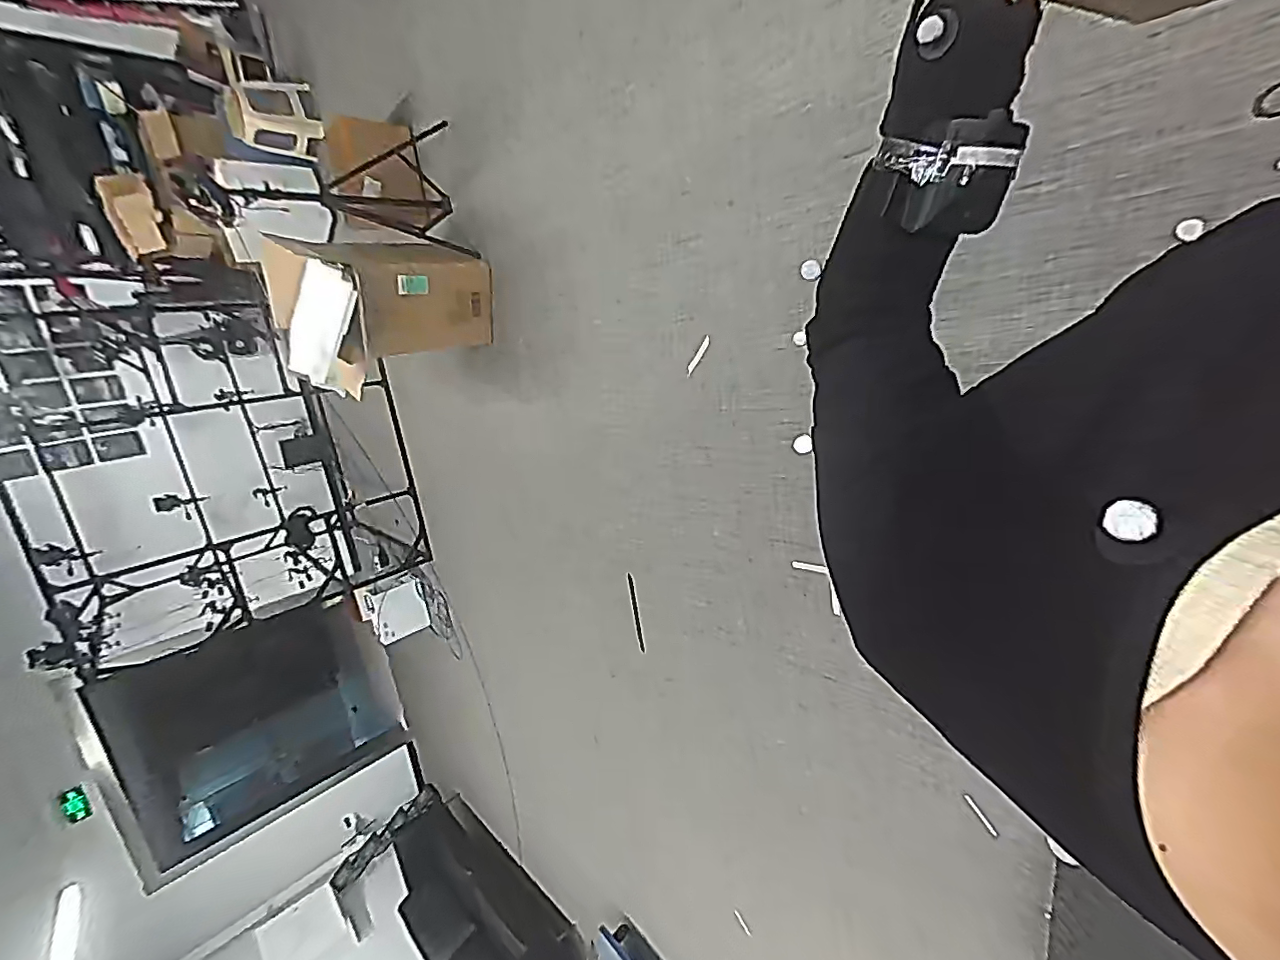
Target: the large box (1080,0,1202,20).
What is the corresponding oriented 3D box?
[{"bbox_3d":[0.422,-0.436,0.183,0.408,0.320,0.320,14,127,45],"label":"large box"}]
